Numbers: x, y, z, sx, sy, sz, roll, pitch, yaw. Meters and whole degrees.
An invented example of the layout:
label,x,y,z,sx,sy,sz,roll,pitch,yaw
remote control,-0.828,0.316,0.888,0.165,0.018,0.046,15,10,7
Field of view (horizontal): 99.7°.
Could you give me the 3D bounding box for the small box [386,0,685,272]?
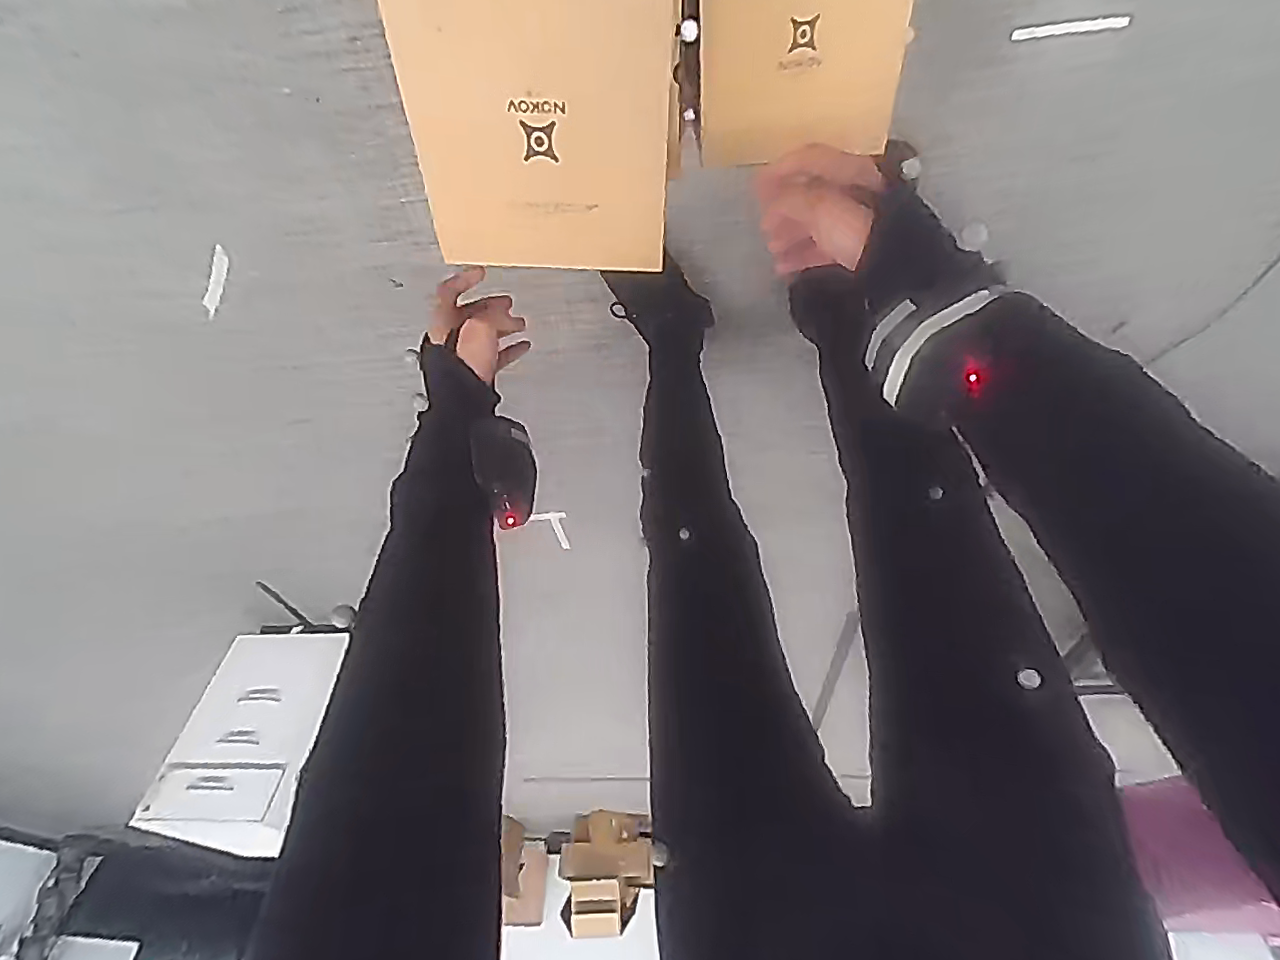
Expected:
label,x,y,z,sx,sy,sz,roll,pitch,yaw
small box,-0.057,-0.275,0.393,0.168,0.176,0.179,3,137,1
